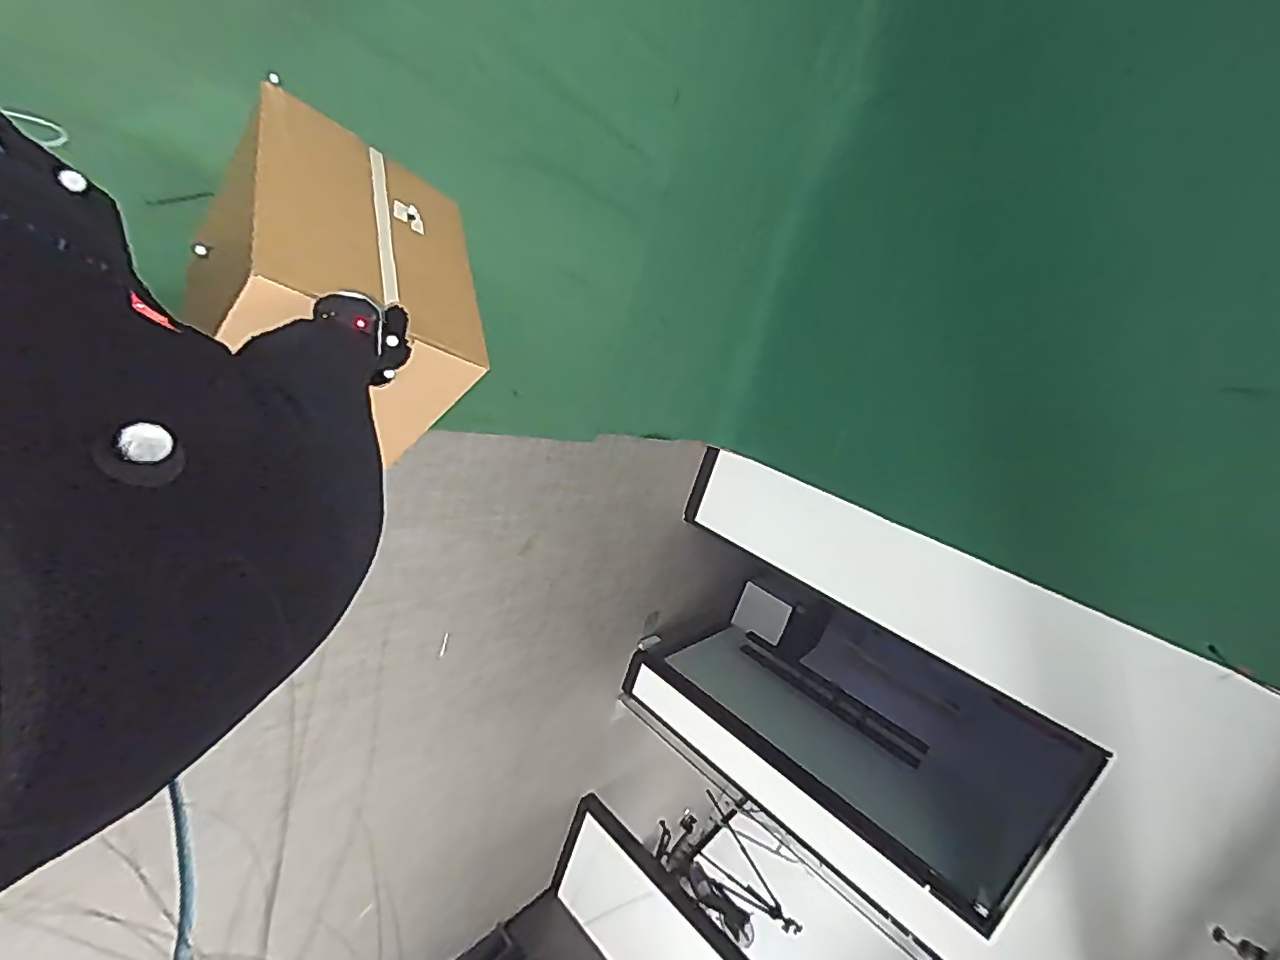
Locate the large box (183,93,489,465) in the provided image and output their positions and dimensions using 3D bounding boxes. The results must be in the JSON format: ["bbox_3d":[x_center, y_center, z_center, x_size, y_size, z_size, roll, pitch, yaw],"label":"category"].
[{"bbox_3d":[-0.491,-0.286,0.872,0.320,0.408,0.320,-34,150,28],"label":"large box"}]
